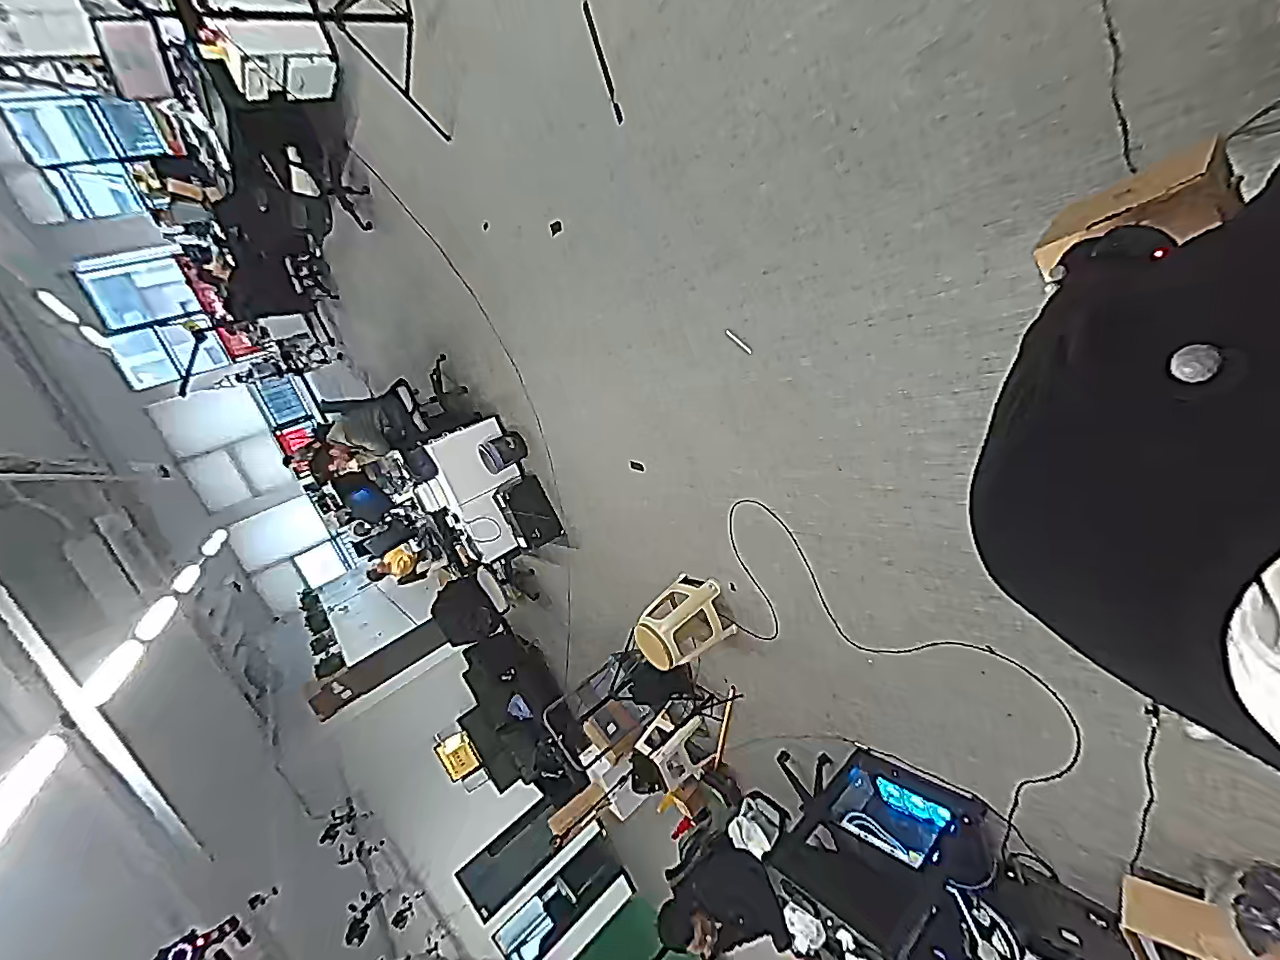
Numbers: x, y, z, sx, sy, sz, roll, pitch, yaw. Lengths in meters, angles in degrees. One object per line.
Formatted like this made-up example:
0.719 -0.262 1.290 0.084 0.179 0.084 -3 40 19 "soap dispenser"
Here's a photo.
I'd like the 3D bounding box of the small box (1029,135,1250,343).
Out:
0.660 -0.303 0.715 0.176 0.179 0.168 55 150 -14 "small box"
